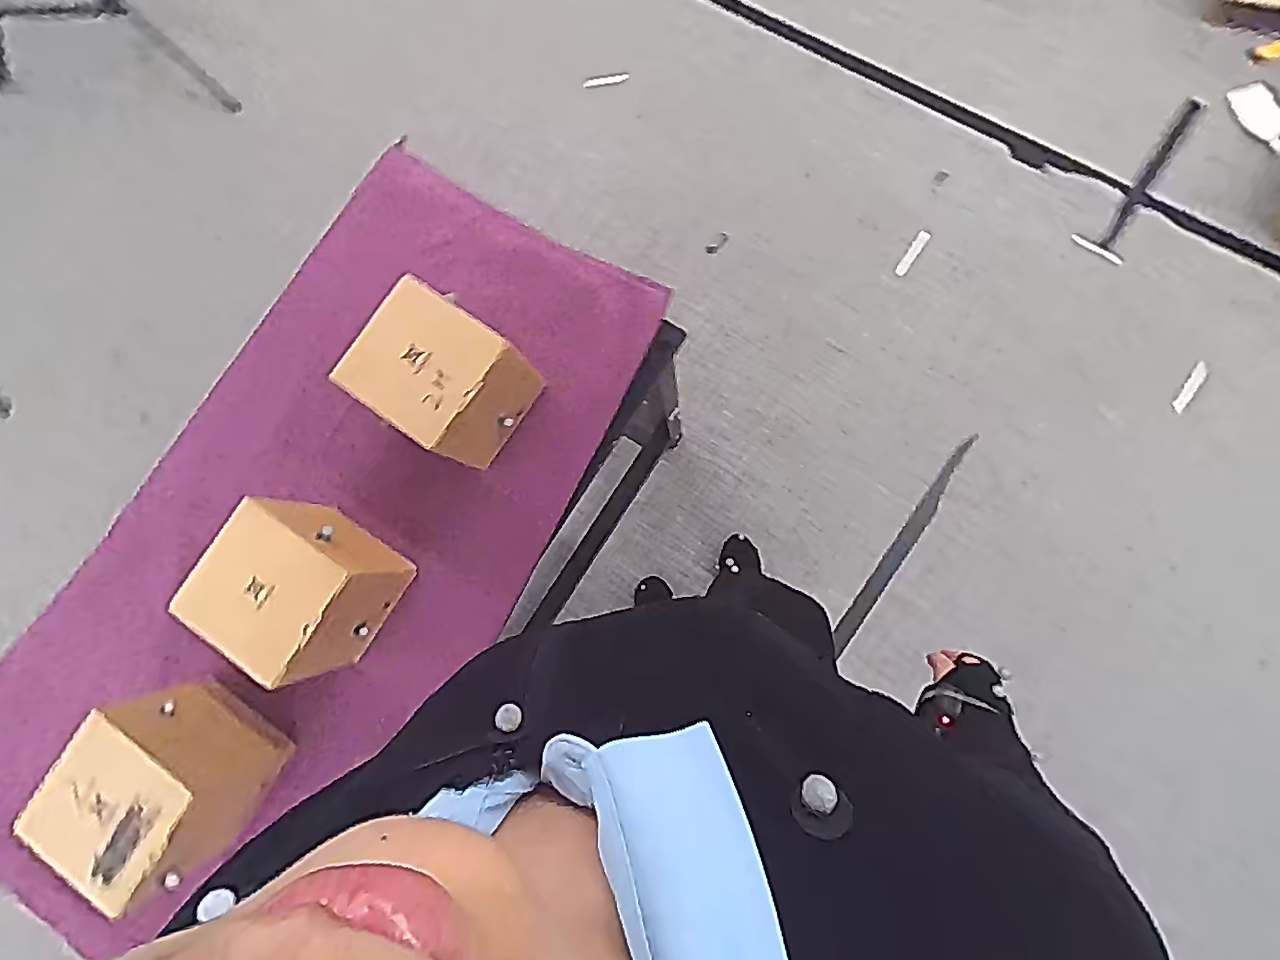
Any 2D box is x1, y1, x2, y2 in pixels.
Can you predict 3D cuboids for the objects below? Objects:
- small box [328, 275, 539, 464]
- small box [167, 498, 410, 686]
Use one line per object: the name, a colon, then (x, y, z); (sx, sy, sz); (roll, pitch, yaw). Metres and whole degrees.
small box: (-0.271, -0.139, 0.750); (0.179, 0.176, 0.168); (34, 87, 9)
small box: (-0.458, 0.145, 0.733); (0.179, 0.176, 0.168); (32, 86, 8)
